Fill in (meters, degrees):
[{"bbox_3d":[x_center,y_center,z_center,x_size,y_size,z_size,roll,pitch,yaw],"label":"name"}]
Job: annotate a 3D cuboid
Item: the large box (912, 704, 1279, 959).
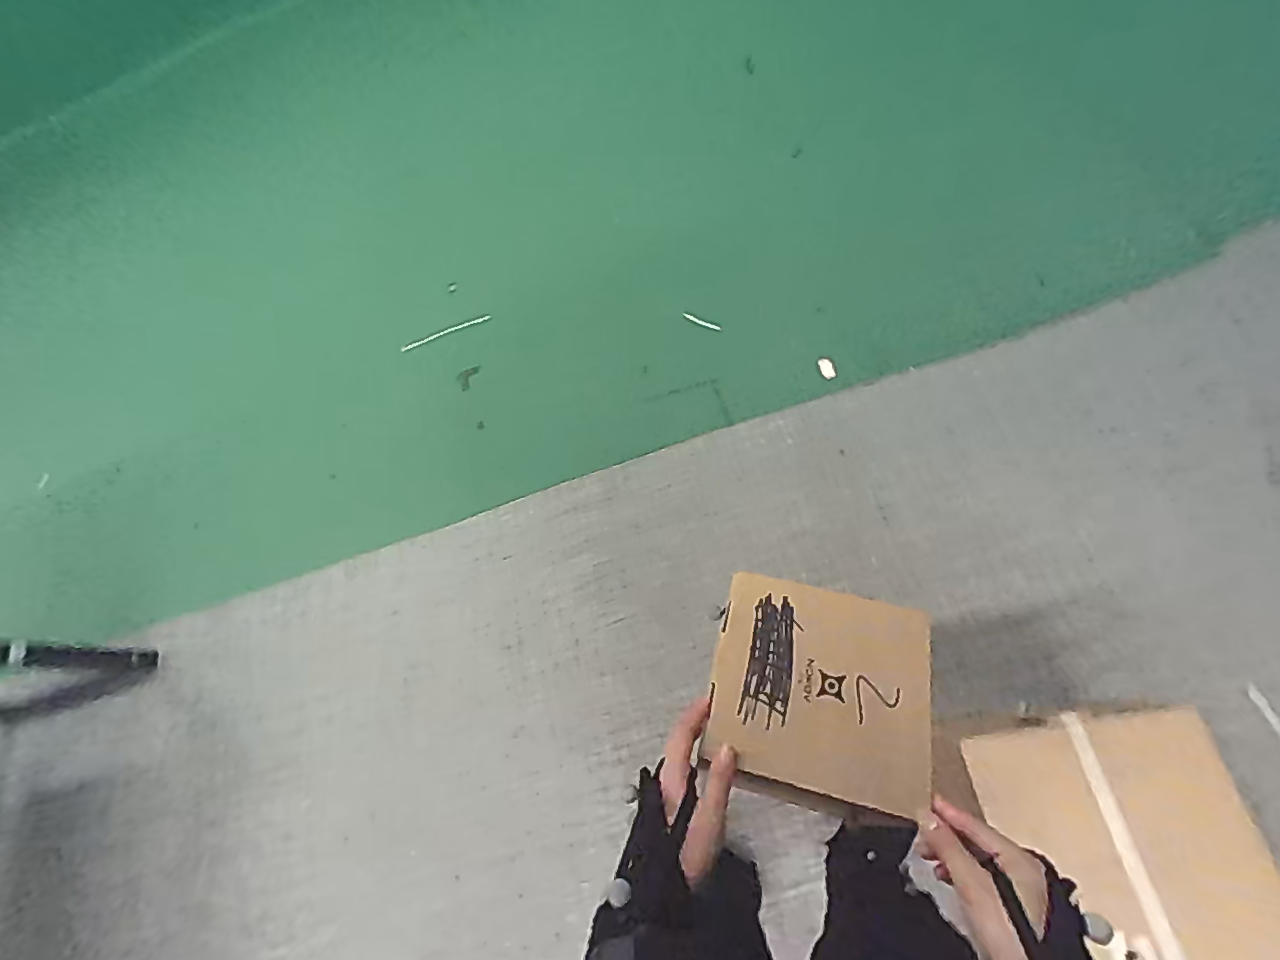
[{"bbox_3d":[0.675,0.586,0.830,0.320,0.320,0.408,-13,67,9],"label":"large box"}]
